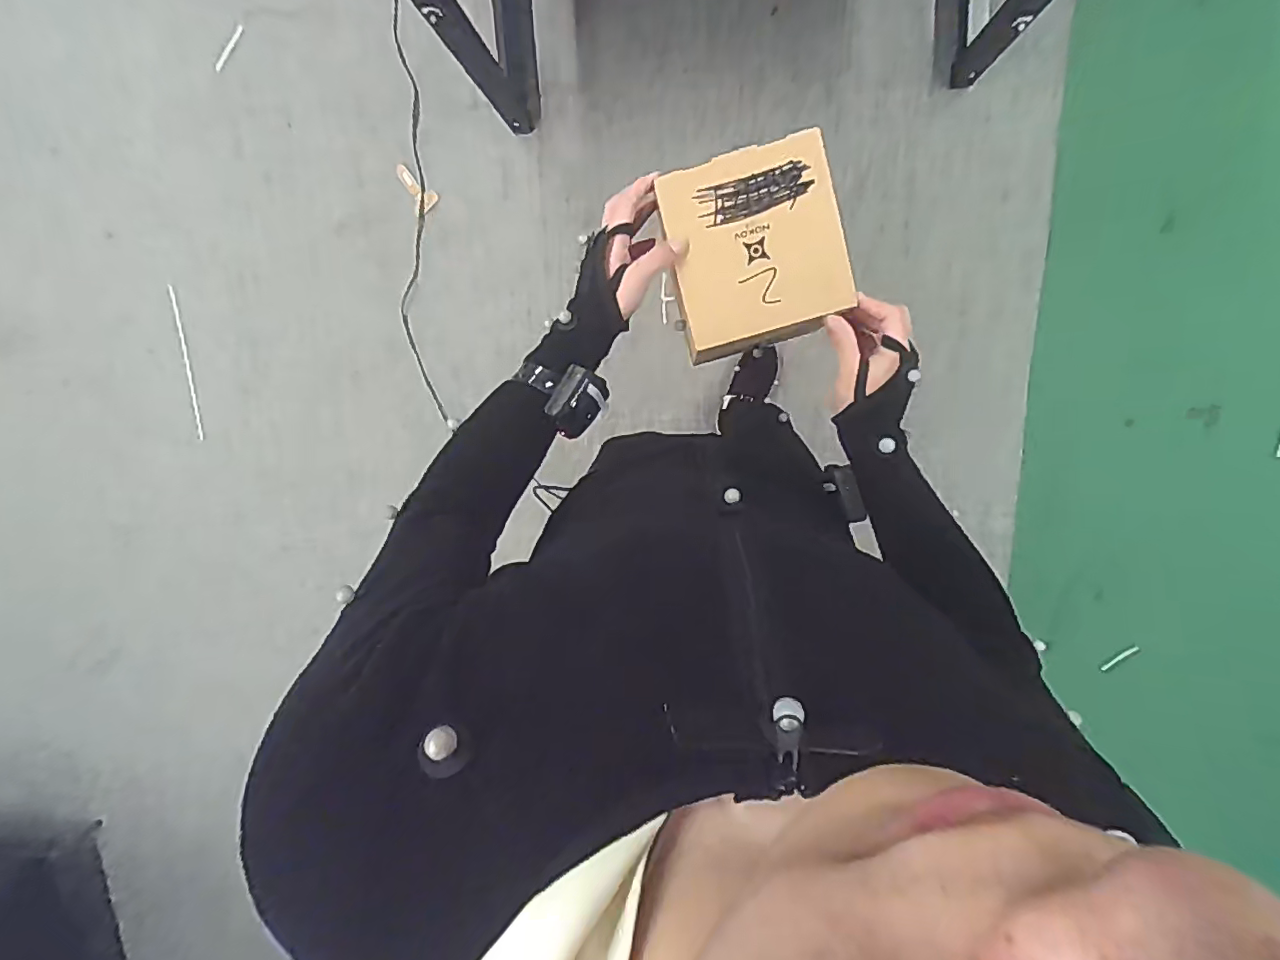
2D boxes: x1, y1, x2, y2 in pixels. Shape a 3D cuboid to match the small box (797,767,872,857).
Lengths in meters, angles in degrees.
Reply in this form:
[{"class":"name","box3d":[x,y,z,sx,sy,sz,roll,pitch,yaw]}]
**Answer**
[{"class":"small box","box3d":[0.598,1.026,1.682,0.179,0.176,0.168,3,102,5]}]
